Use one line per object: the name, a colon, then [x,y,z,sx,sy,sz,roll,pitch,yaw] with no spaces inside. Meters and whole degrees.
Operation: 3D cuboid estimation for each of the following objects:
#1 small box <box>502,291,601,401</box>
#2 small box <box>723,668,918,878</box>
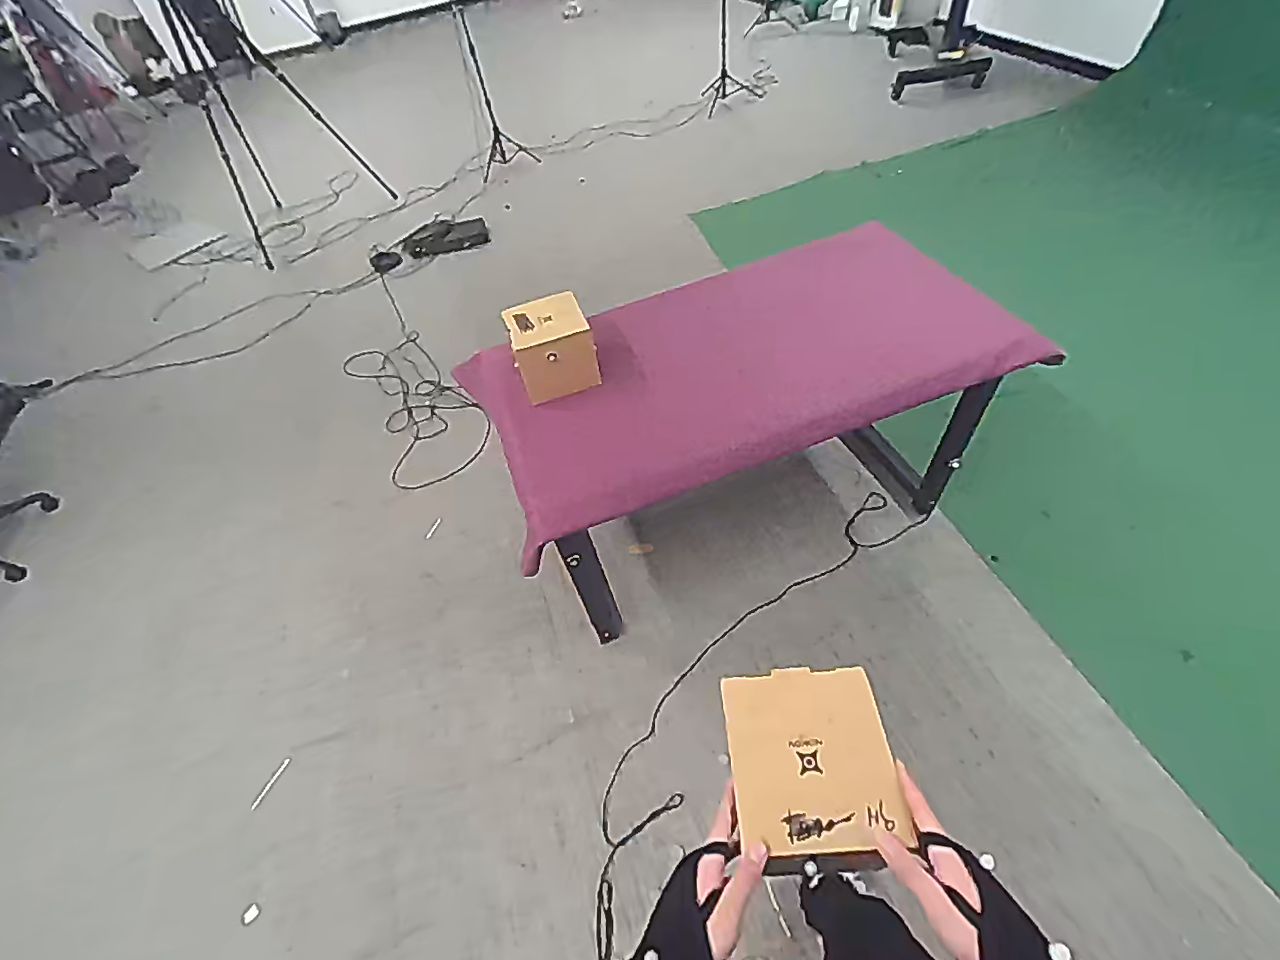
small box: [-0.207,-0.312,1.279,0.179,0.176,0.168,-19,53,-7]
small box: [0.187,0.337,0.619,0.168,0.176,0.179,-7,49,6]
